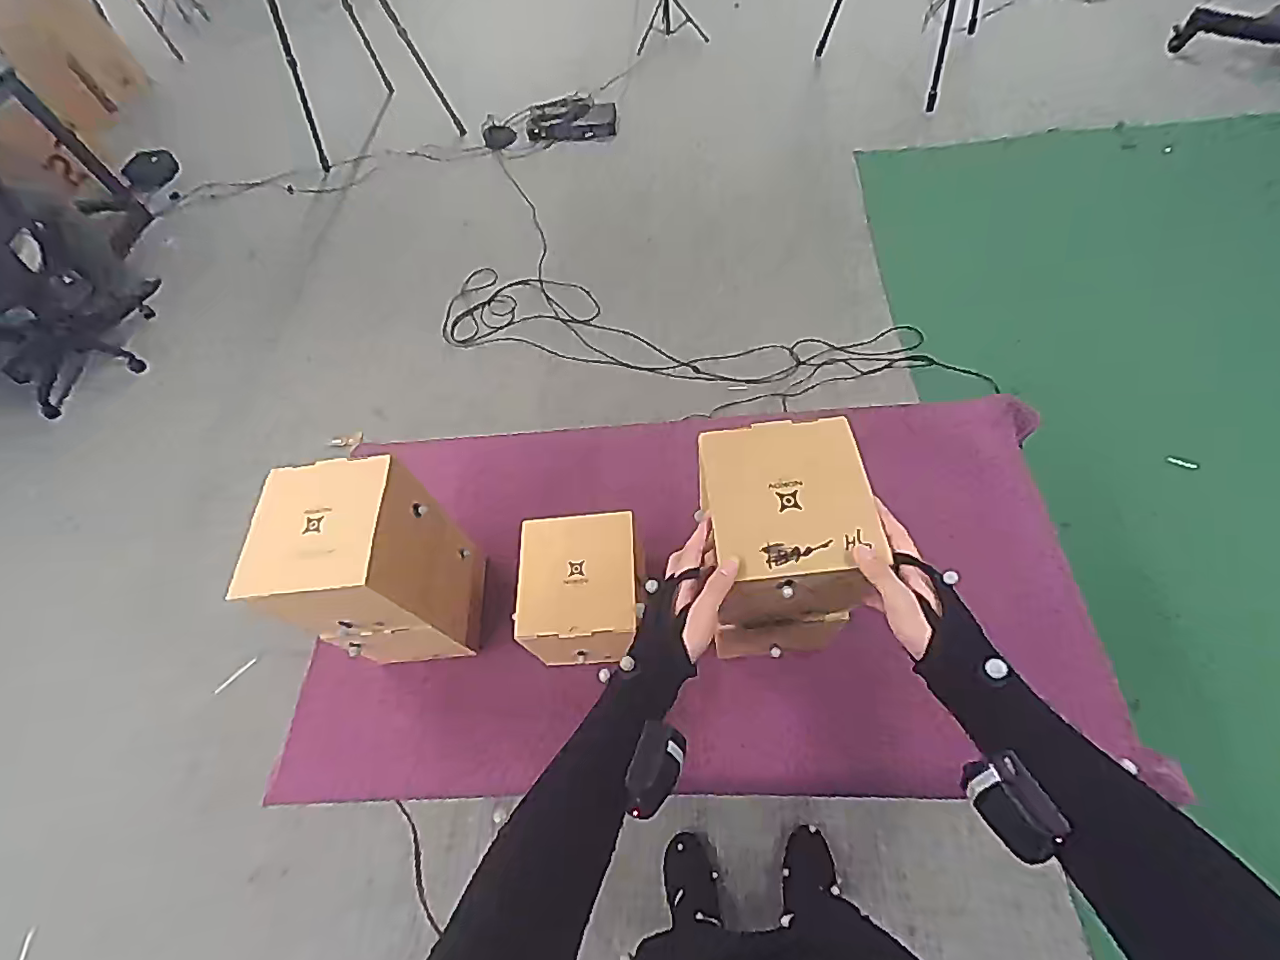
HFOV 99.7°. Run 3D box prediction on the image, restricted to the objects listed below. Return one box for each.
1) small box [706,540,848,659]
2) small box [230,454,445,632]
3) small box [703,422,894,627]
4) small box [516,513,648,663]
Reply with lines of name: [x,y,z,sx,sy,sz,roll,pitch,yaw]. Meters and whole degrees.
small box: [0.185,0.151,0.792,0.168,0.176,0.179,-6,60,5]
small box: [-0.374,0.087,0.710,0.168,0.176,0.179,-5,59,4]
small box: [0.163,0.057,0.625,0.168,0.176,0.179,-6,60,4]
small box: [-0.078,0.168,0.819,0.168,0.176,0.179,-5,60,4]
